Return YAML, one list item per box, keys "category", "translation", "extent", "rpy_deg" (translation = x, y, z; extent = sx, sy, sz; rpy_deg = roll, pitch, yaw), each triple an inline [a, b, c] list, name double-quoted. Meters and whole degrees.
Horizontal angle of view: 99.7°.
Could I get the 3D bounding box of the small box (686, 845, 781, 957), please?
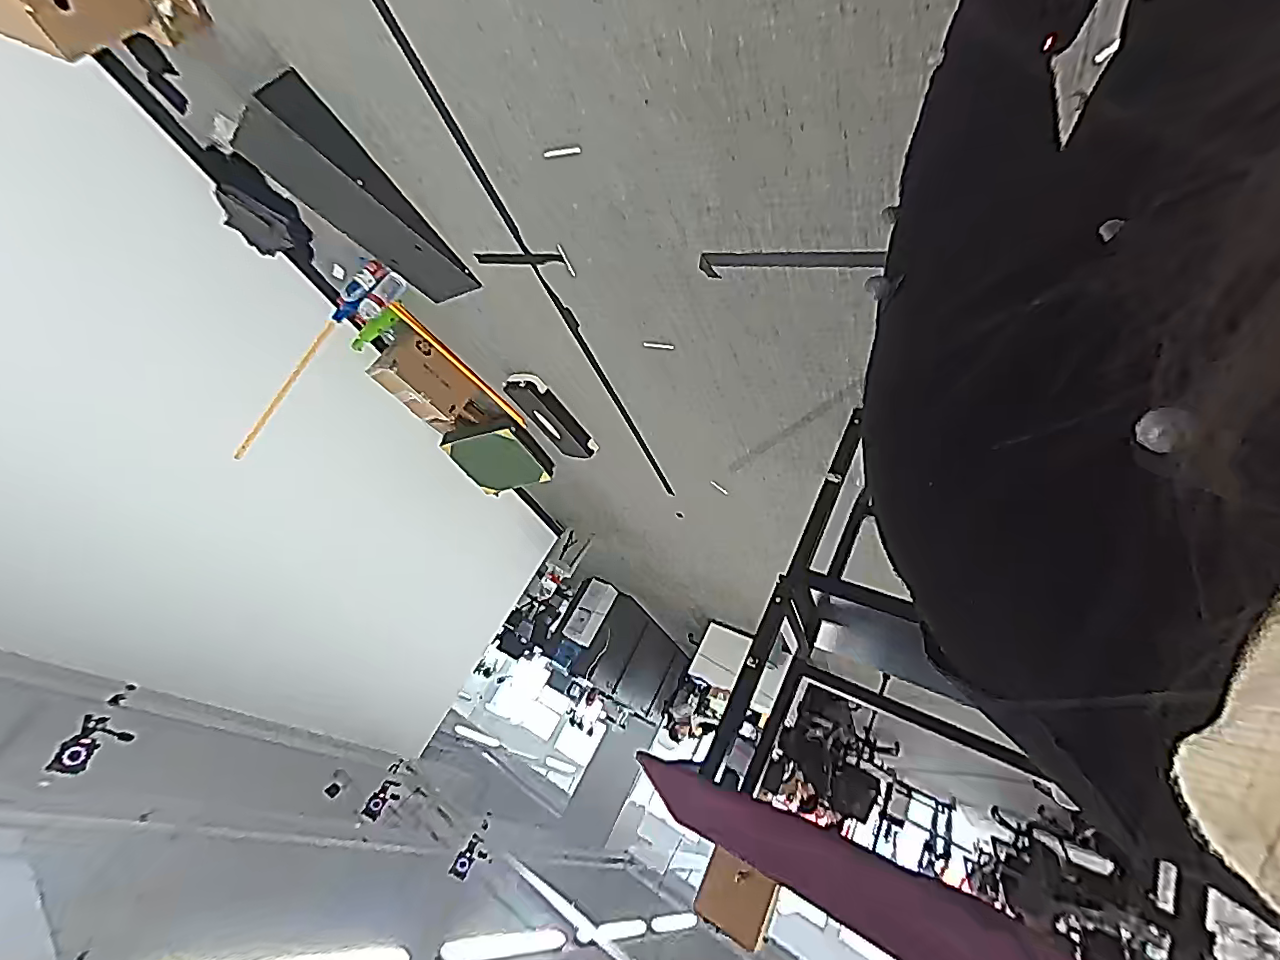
- category: "small box"
  translation: [0.249, 1.090, 1.419]
  extent: [0.179, 0.176, 0.168]
  rpy_deg: [17, 155, 31]
